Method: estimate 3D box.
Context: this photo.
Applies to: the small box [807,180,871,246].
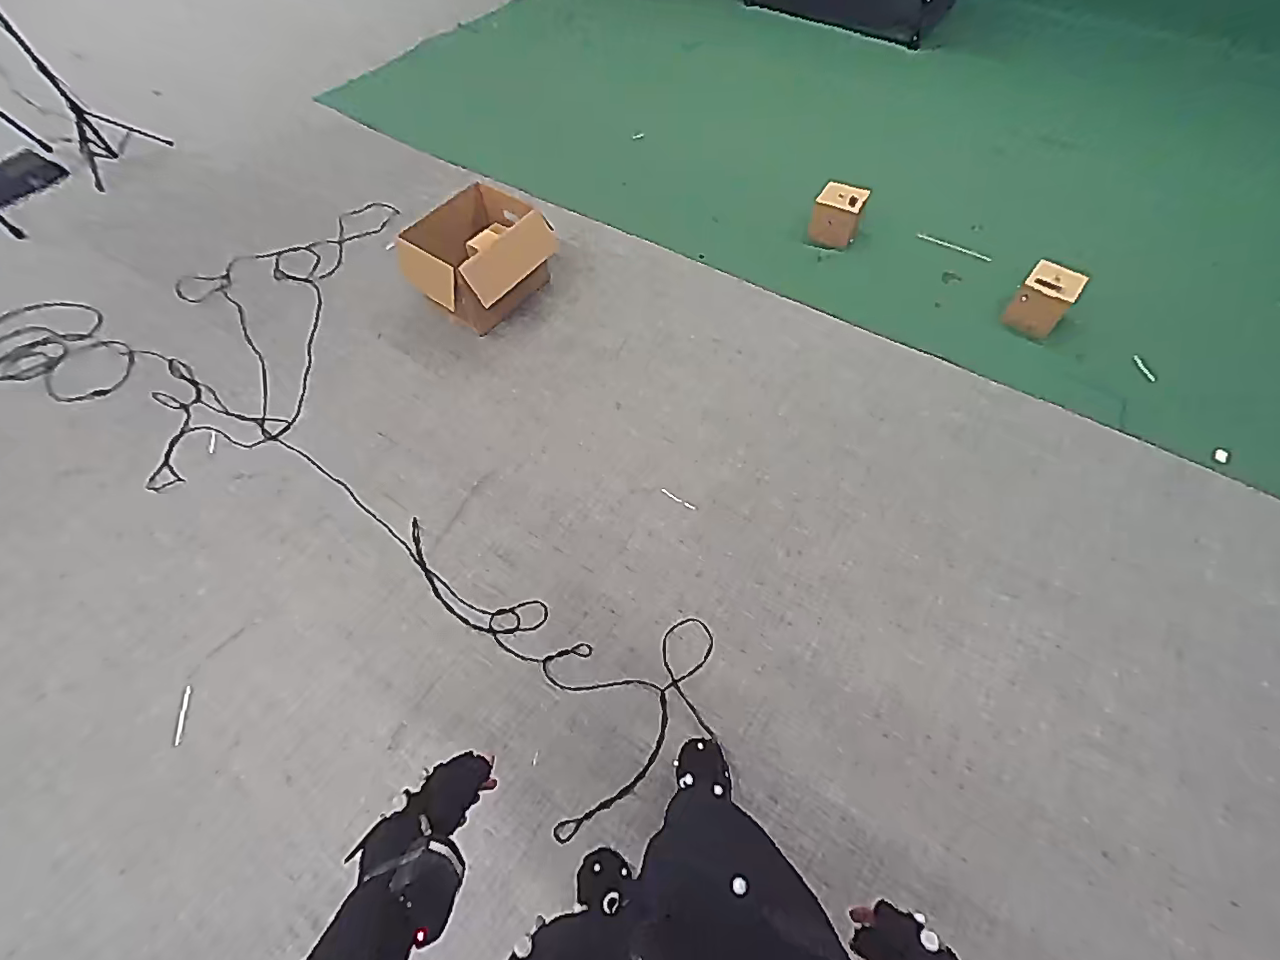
[{"bbox_3d":[0.814,-1.095,2.227,0.179,0.176,0.168,27,63,18],"label":"small box"}]
